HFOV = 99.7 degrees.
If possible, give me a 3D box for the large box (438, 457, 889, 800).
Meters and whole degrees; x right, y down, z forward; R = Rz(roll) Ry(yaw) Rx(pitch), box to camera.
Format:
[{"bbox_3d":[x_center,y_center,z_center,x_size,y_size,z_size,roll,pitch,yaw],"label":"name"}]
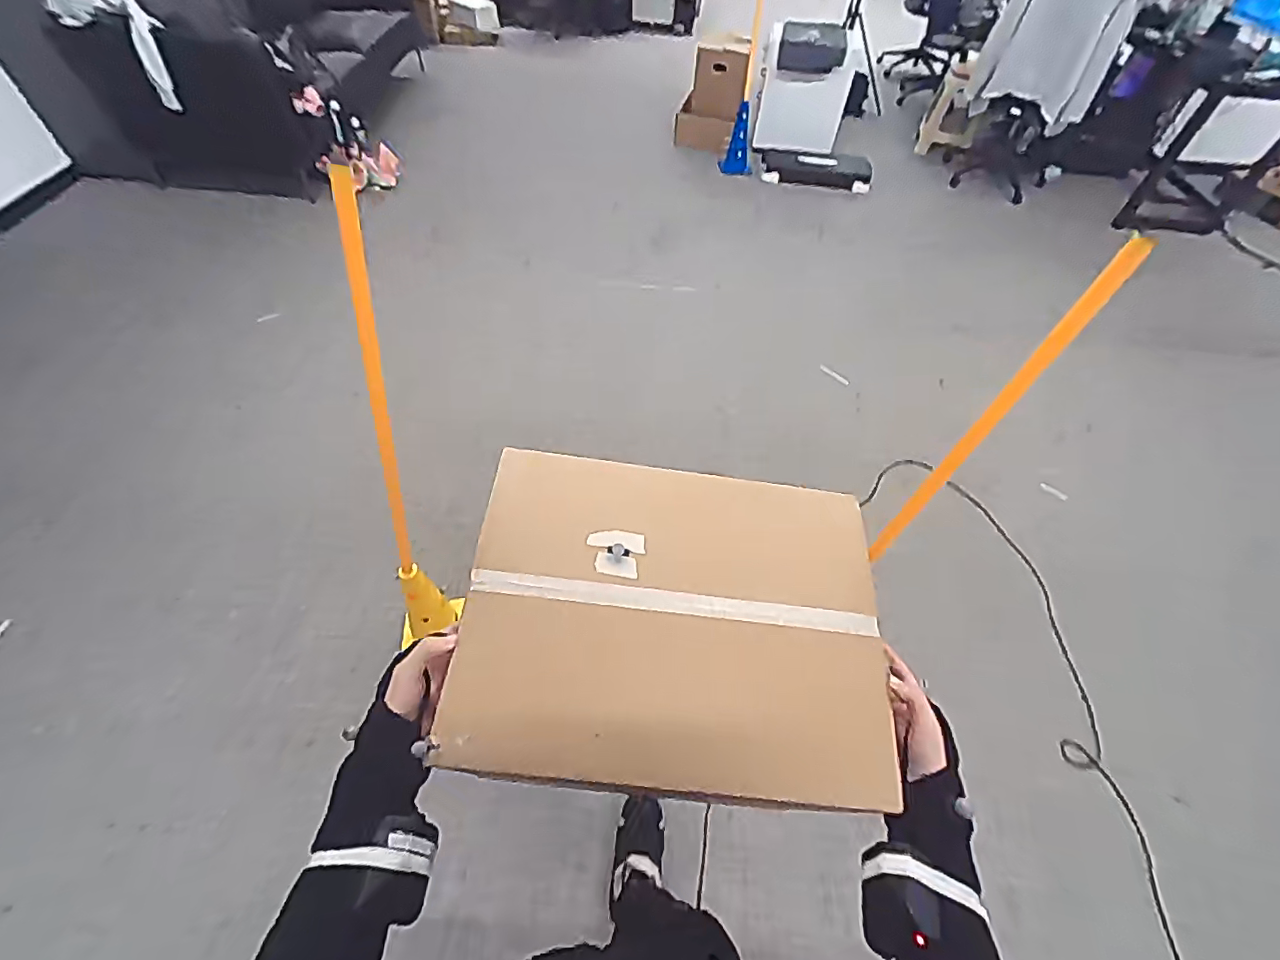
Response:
[{"bbox_3d":[0.022,0.199,0.668,0.408,0.320,0.320,7,59,-3],"label":"large box"}]
